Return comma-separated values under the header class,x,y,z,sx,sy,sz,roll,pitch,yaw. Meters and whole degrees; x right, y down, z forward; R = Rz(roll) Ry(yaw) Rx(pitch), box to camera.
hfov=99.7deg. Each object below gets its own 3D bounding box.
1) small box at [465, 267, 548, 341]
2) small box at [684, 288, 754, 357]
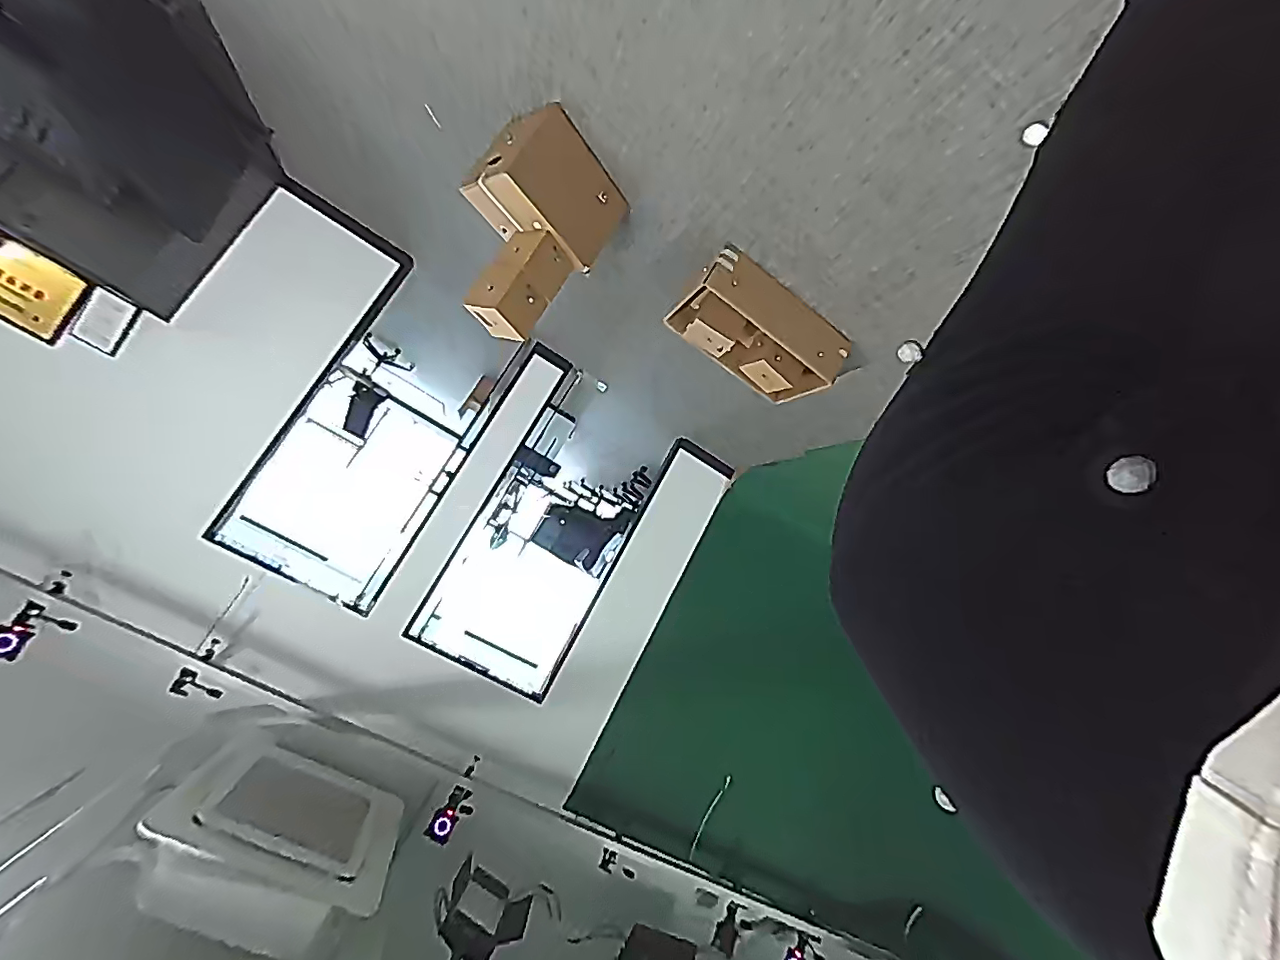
class,x,y,z,sx,sy,sz,roll,pitch,yaw
small box,-0.446,-0.599,1.830,0.179,0.176,0.168,19,164,34
small box,0.304,-0.612,2.085,0.179,0.176,0.168,31,167,-10
